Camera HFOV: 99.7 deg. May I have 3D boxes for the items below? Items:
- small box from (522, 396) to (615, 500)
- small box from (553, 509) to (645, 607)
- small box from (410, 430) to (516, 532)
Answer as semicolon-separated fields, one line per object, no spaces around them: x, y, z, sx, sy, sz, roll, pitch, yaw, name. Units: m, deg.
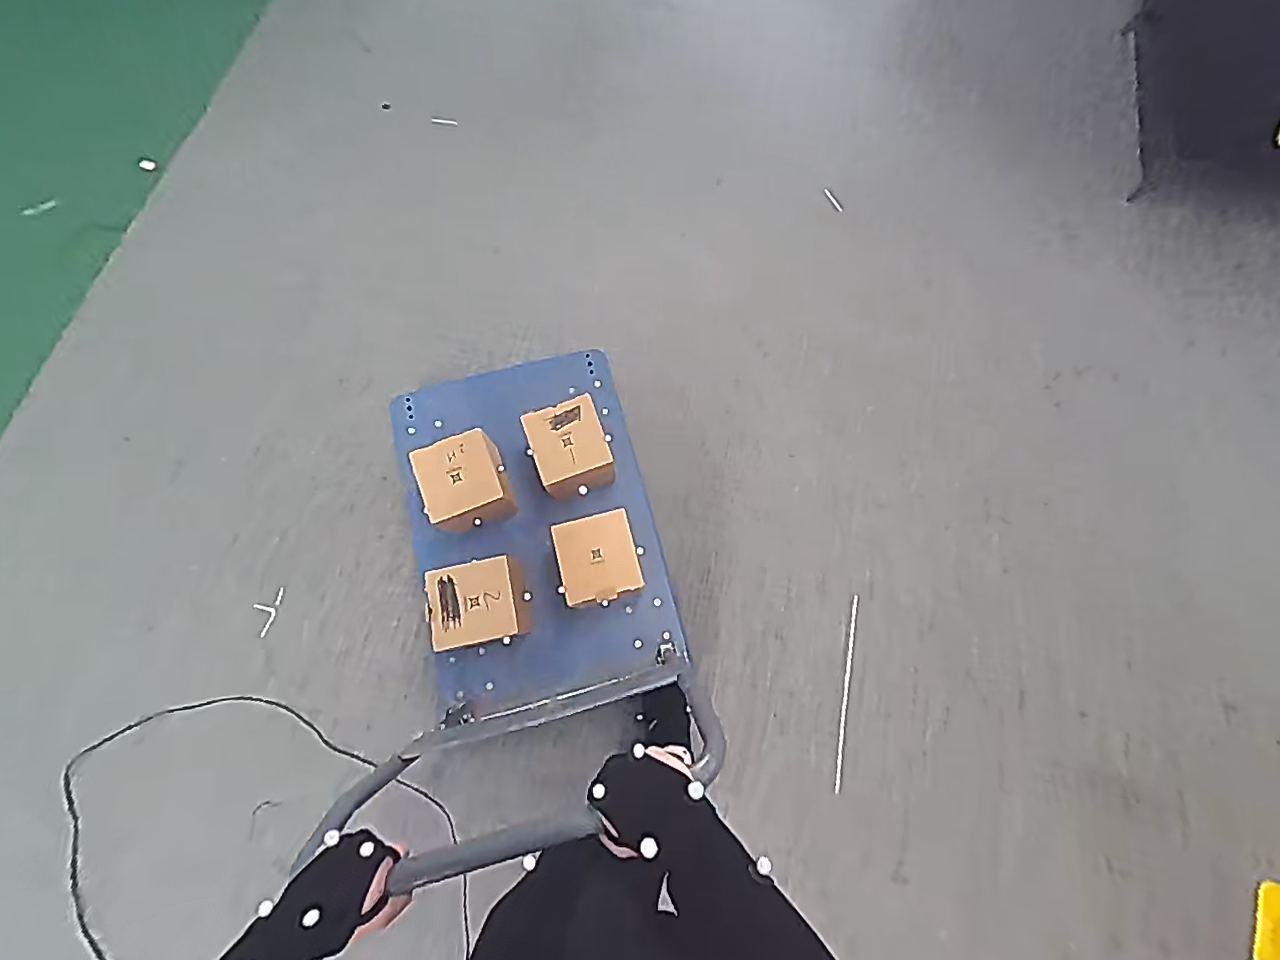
-0.164;-0.070;1.282;0.168;0.176;0.179;-20;77;-5;small box
-0.091;0.182;1.219;0.168;0.176;0.179;-14;77;-4;small box
-0.404;0.011;1.258;0.168;0.176;0.179;-21;77;-7;small box
